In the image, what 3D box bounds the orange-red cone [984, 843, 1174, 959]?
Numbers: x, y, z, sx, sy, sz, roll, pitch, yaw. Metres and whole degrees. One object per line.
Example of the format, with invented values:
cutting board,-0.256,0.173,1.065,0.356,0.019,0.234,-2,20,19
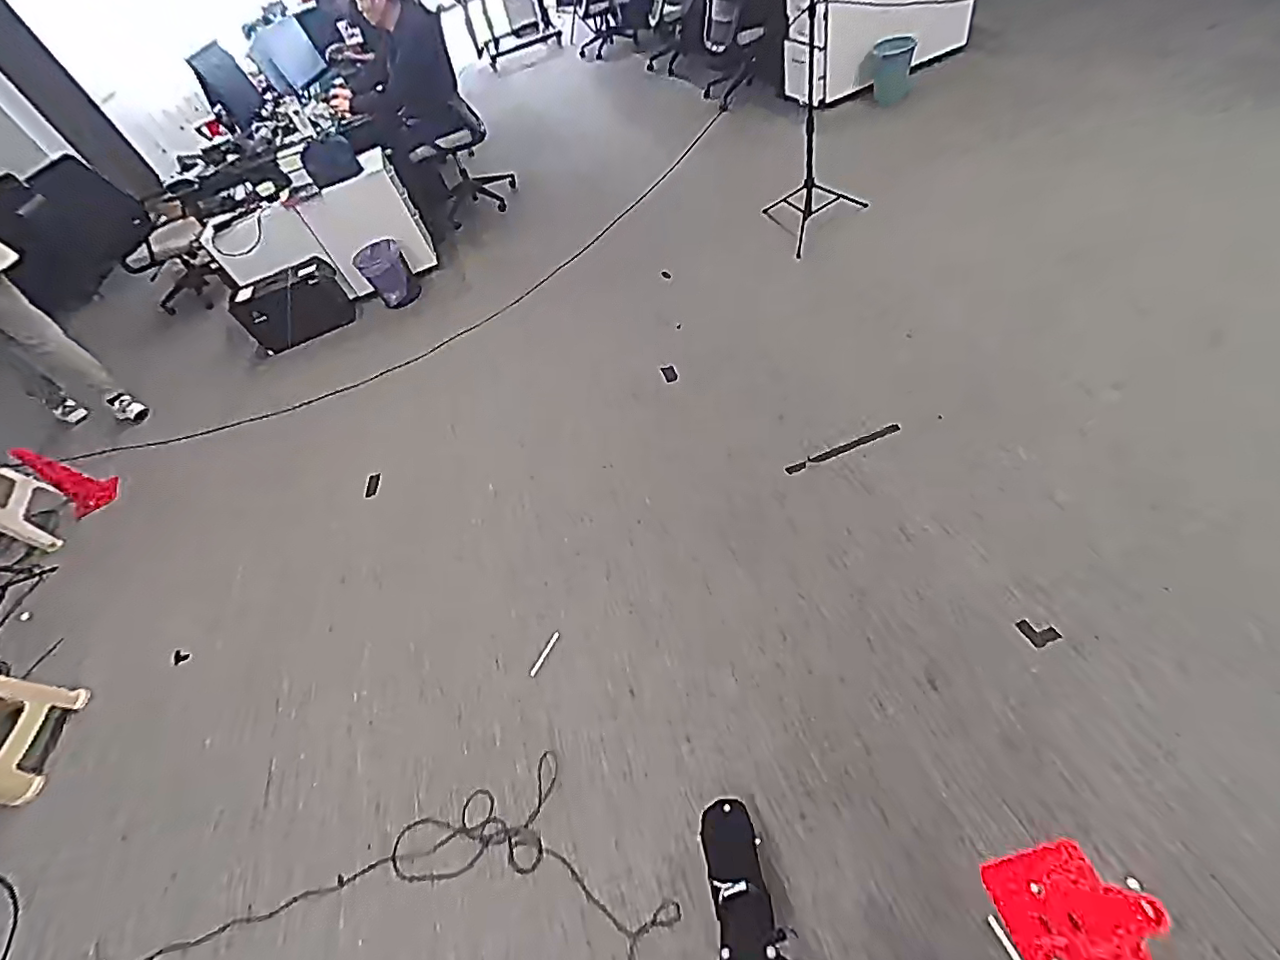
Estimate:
orange-red cone,0.735,0.694,0.860,0.199,0.360,0.198,-17,50,1
